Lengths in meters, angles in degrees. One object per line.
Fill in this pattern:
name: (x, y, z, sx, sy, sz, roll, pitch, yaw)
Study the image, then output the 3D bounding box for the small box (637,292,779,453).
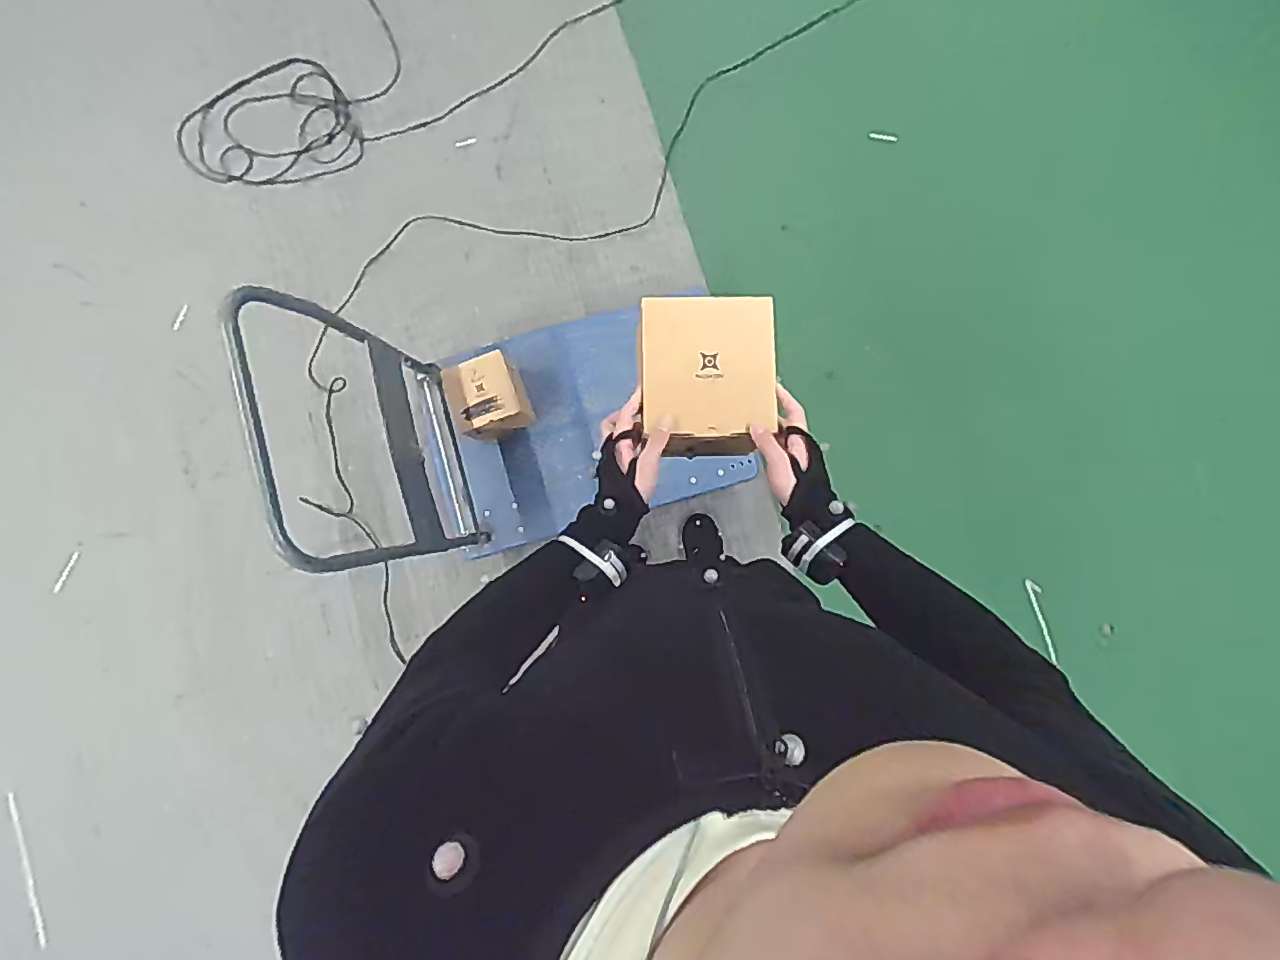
small box: (0.083, -0.136, 0.734, 0.168, 0.176, 0.179, 0, 86, -3)
